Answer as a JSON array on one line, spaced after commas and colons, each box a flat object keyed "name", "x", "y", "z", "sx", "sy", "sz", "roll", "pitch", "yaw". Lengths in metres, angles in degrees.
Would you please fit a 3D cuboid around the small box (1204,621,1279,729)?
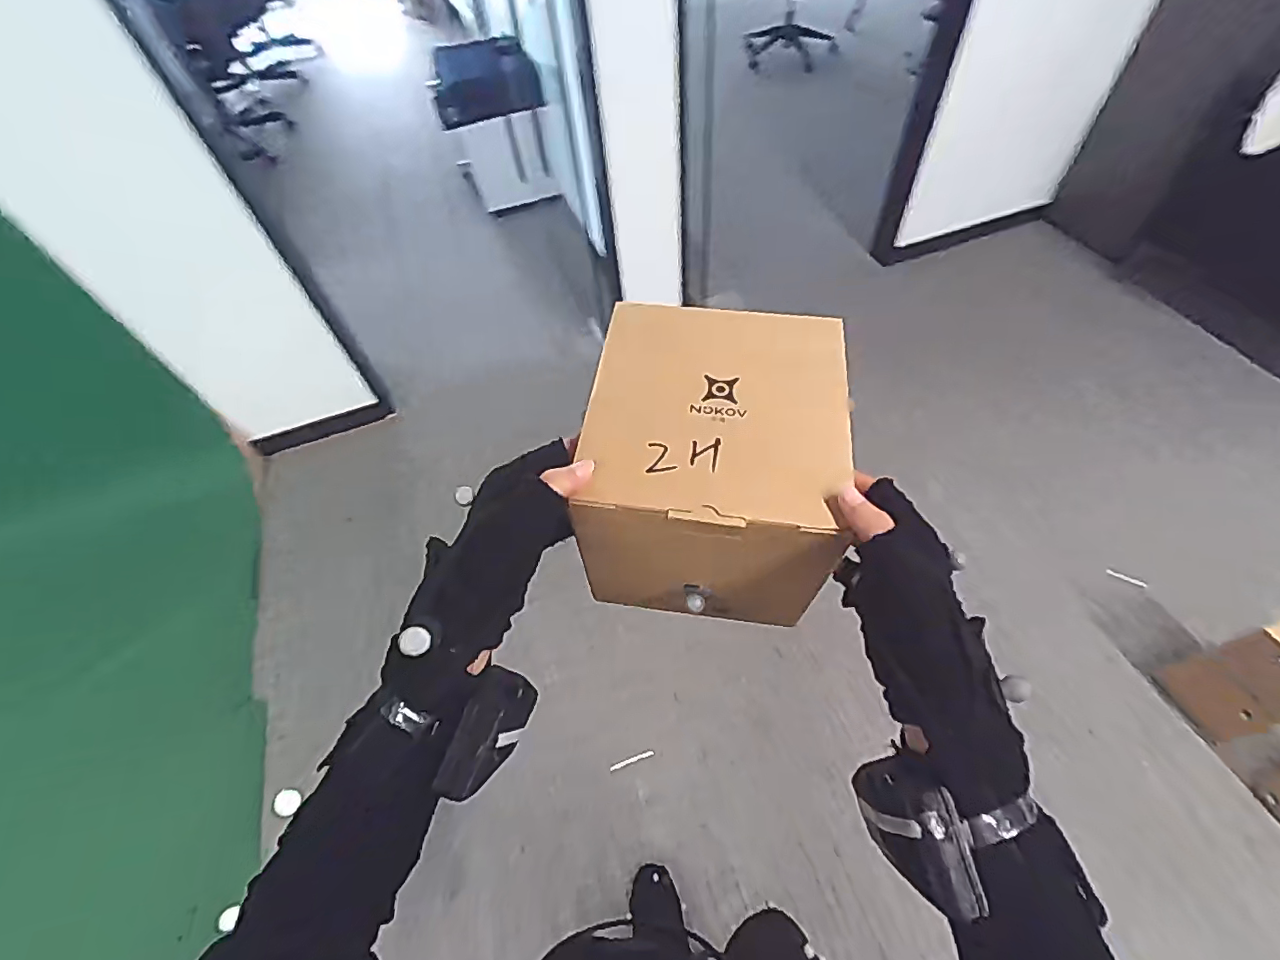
[{"name": "small box", "x": 1.335, "y": 0.380, "z": 1.098, "sx": 0.179, "sy": 0.176, "sz": 0.168, "roll": -18, "pitch": 54, "yaw": -9}]

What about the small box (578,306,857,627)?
[{"name": "small box", "x": 0.058, "y": -0.006, "z": 0.423, "sx": 0.168, "sy": 0.176, "sz": 0.179, "roll": 7, "pitch": 57, "yaw": 7}]

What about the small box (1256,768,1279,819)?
[{"name": "small box", "x": 1.429, "y": 0.659, "z": 1.086, "sx": 0.179, "sy": 0.176, "sz": 0.168, "roll": -19, "pitch": 55, "yaw": -9}]
